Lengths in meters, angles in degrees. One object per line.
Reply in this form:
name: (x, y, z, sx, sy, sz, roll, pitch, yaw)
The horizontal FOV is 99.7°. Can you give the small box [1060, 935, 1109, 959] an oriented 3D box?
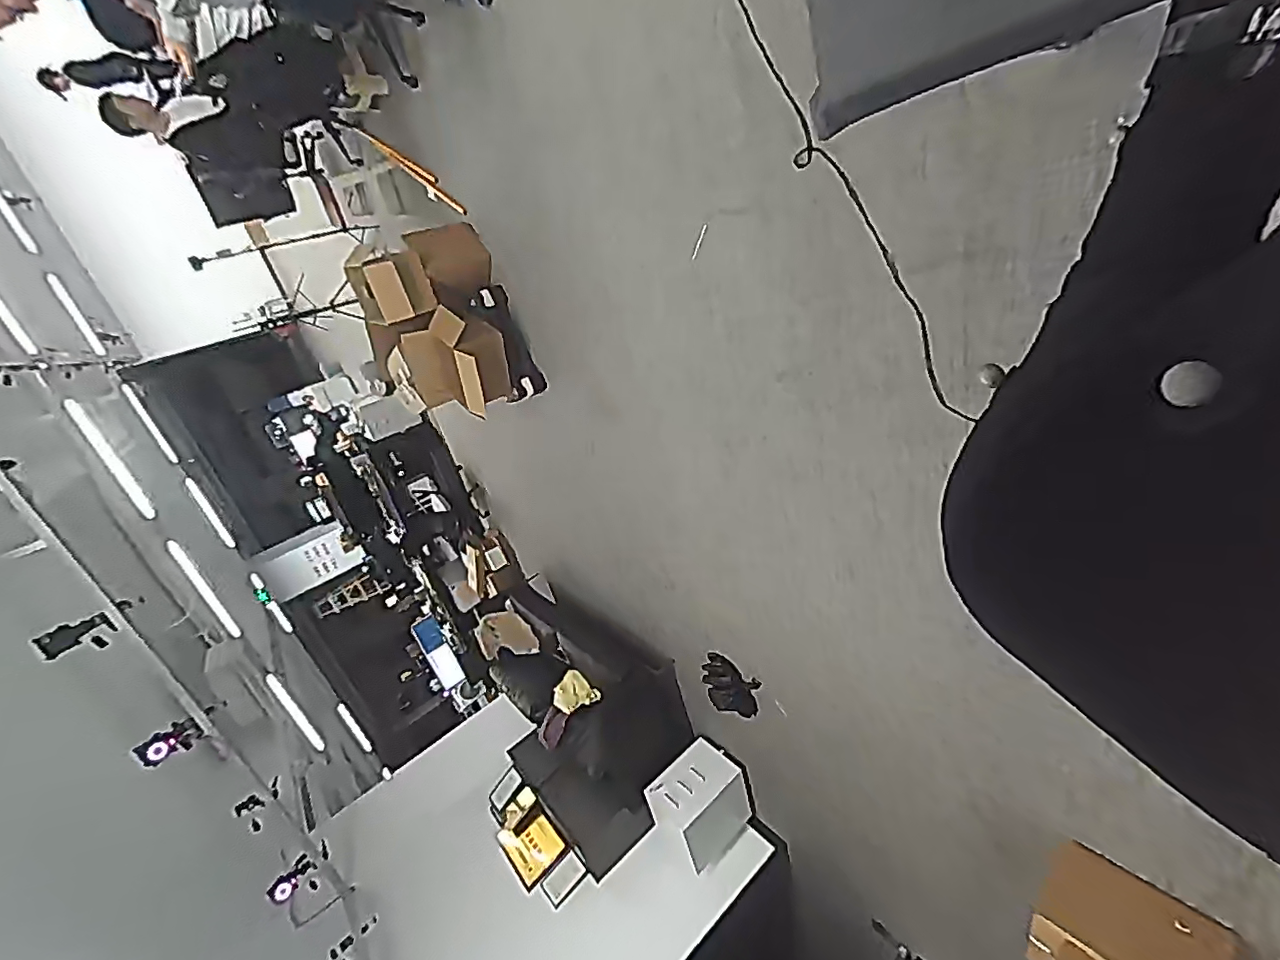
small box: (1.329, 1.504, 1.583, 0.179, 0.176, 0.168, 25, 134, 48)
